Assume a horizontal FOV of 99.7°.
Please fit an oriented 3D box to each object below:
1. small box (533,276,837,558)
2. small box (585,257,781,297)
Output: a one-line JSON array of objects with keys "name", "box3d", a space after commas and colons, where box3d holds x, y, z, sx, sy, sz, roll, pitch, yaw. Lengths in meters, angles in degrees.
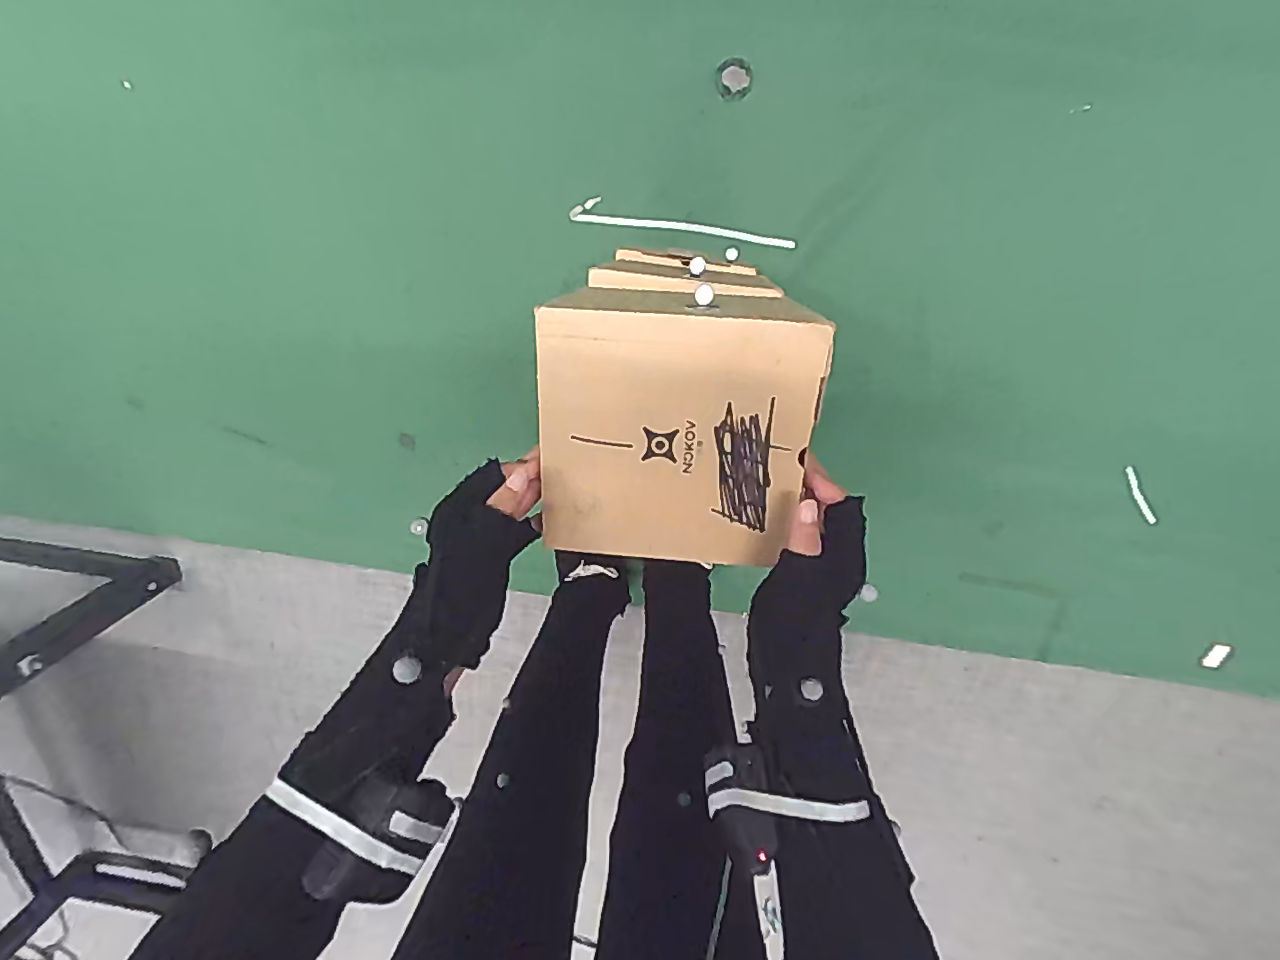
[{"name": "small box", "box3d": [0.025, -0.061, 0.415, 0.179, 0.176, 0.168, 7, 112, 2]}, {"name": "small box", "box3d": [0.037, -0.142, 0.581, 0.179, 0.176, 0.168, 8, 115, 2]}]
